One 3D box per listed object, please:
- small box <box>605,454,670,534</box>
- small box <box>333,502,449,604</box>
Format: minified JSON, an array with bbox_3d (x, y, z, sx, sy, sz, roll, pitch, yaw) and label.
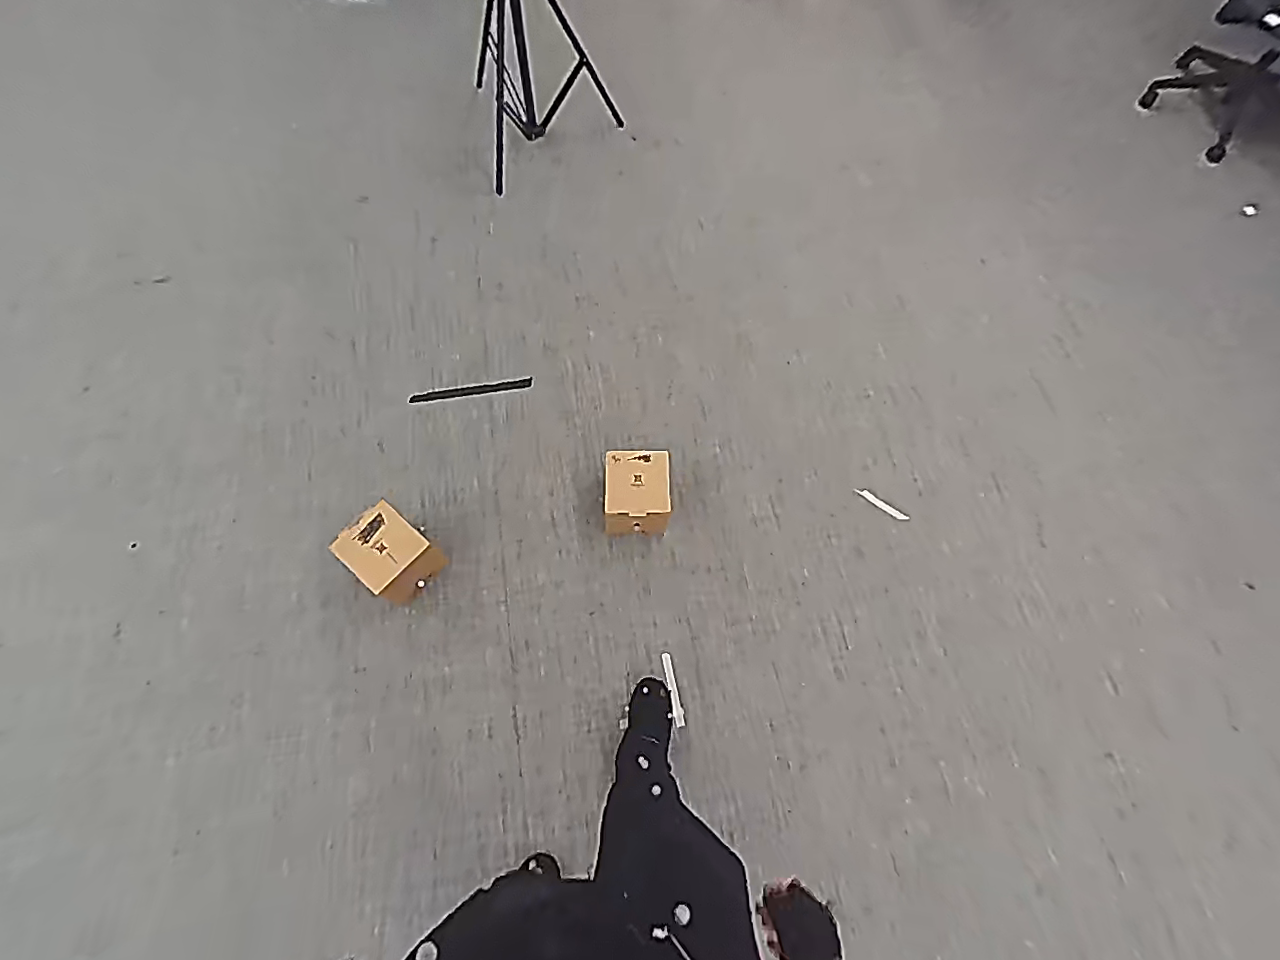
[{"bbox_3d":[-0.009,0.044,1.451,0.168,0.176,0.179,1,68,-3],"label":"small box"},{"bbox_3d":[-0.617,0.190,1.358,0.179,0.176,0.168,40,71,12],"label":"small box"}]
